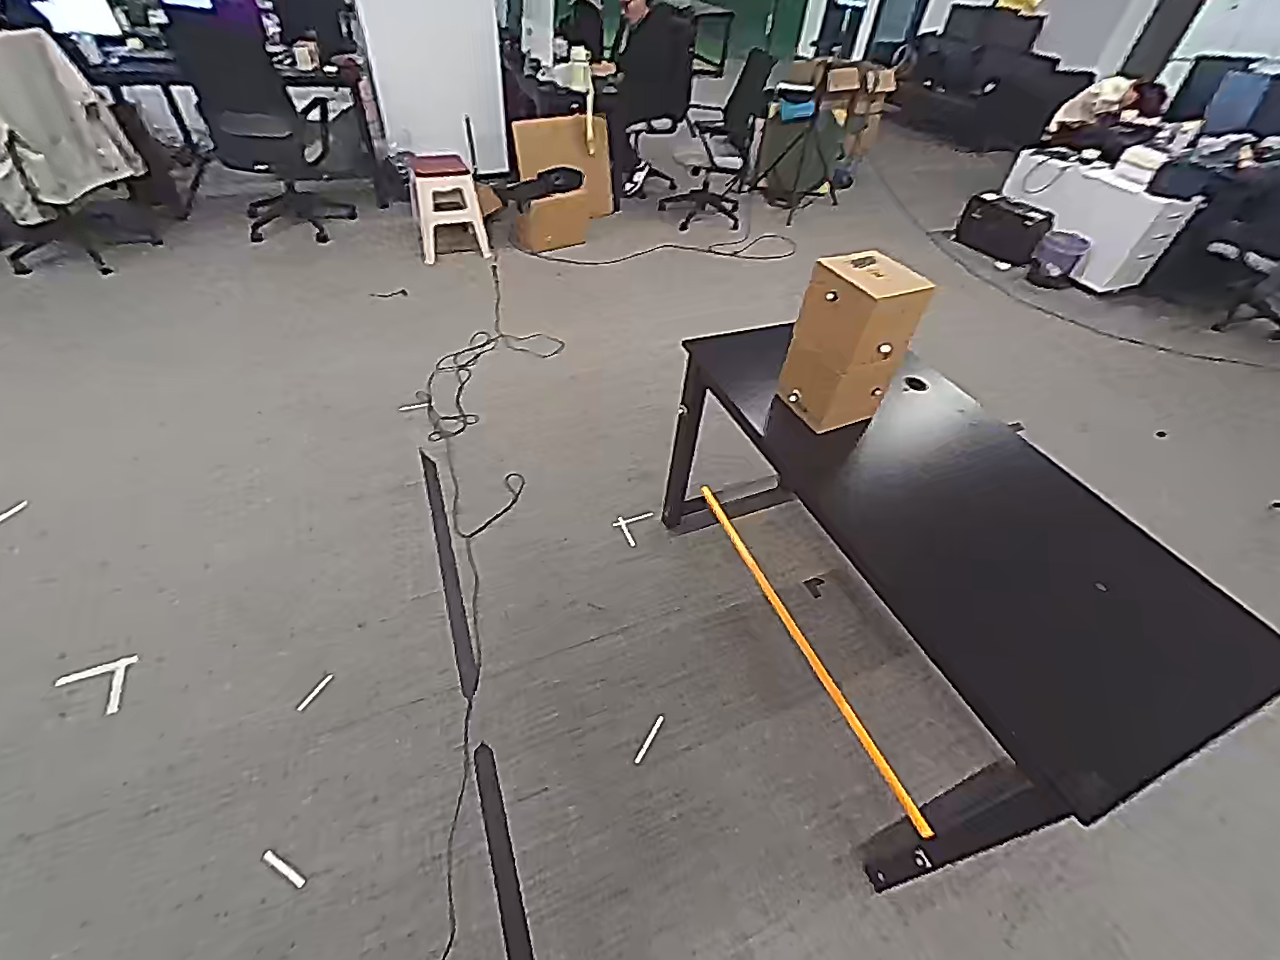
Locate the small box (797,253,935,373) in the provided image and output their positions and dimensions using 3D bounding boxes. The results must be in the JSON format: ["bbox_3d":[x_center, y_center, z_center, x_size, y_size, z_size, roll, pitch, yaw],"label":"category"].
[{"bbox_3d":[0.455,-0.348,1.122,0.168,0.176,0.179,-18,50,-22],"label":"small box"}]

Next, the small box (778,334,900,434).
[{"bbox_3d":[0.446,-0.233,1.240,0.179,0.176,0.168,-18,50,-21],"label":"small box"}]
